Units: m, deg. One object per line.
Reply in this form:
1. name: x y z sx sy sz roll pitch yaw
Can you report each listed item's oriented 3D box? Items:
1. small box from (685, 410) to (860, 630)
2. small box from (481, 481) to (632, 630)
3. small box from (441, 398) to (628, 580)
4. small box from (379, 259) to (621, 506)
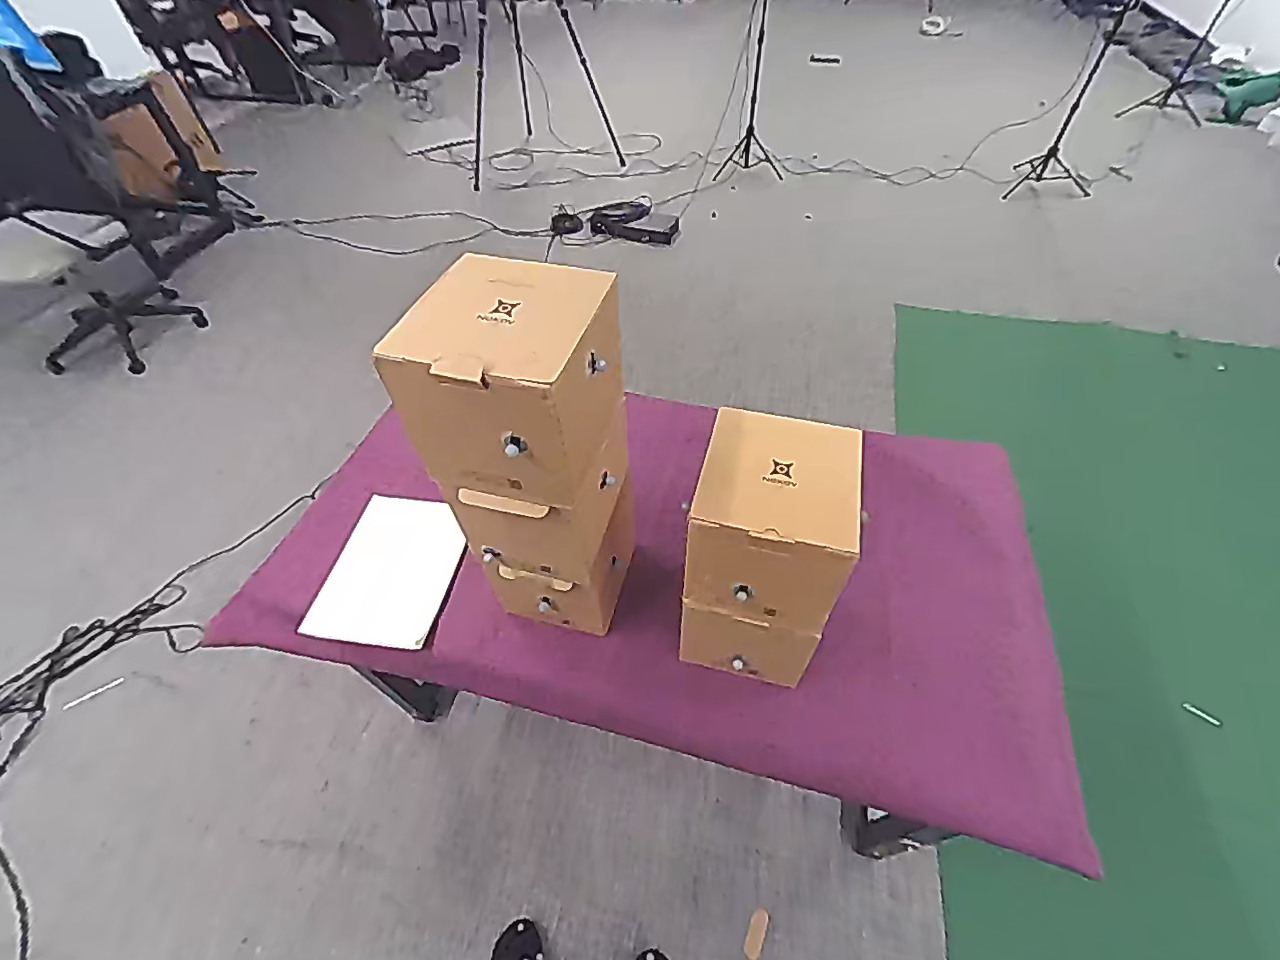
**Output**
1. small box: 0.151 0.047 0.640 0.168 0.176 0.179 12 51 11
2. small box: -0.110 0.103 0.815 0.168 0.176 0.179 12 52 10
3. small box: -0.115 0.002 0.684 0.168 0.176 0.179 11 51 11
4. small box: -0.120 -0.098 0.556 0.168 0.176 0.179 13 51 11
